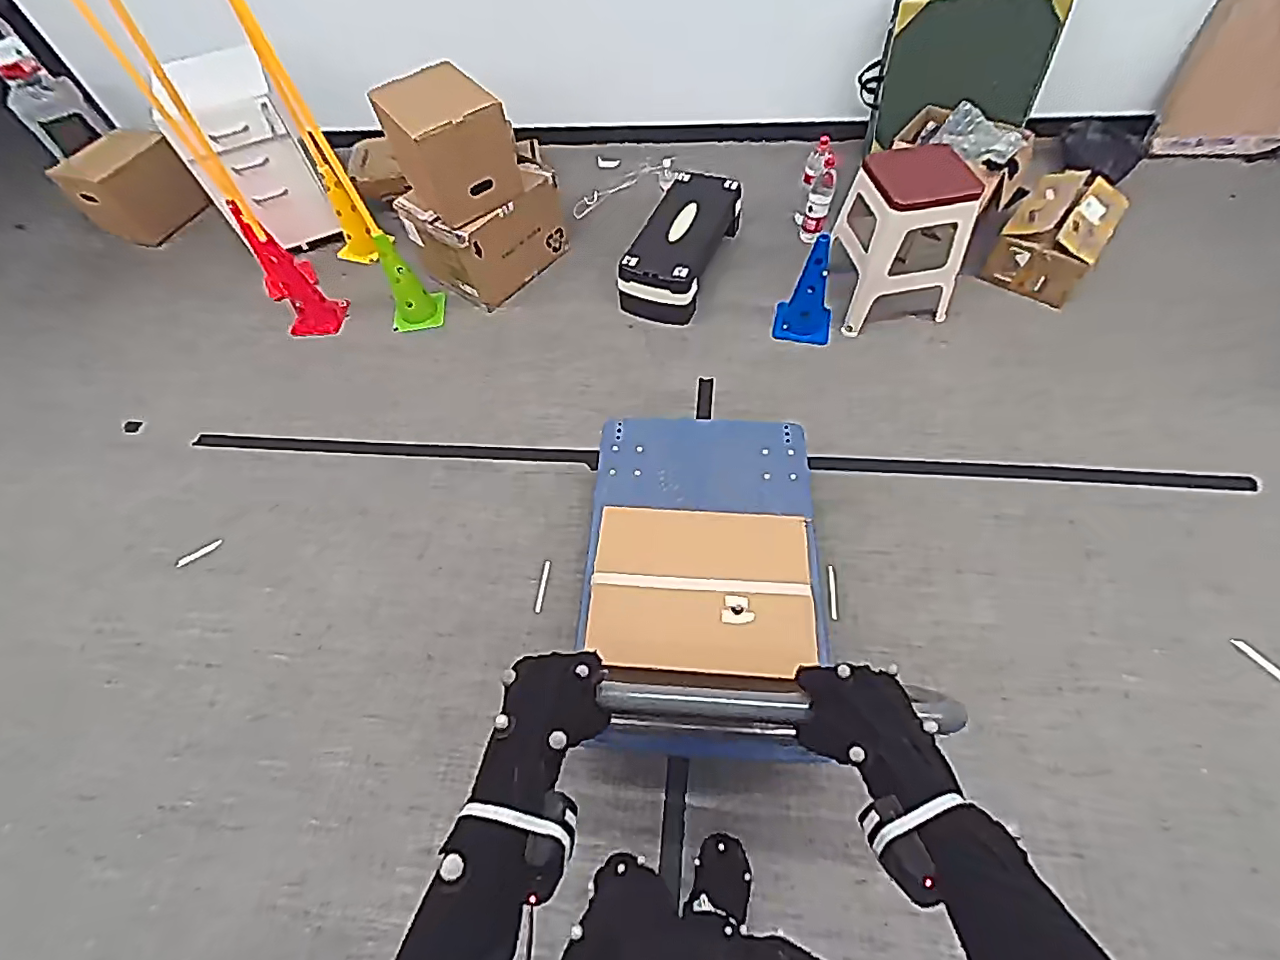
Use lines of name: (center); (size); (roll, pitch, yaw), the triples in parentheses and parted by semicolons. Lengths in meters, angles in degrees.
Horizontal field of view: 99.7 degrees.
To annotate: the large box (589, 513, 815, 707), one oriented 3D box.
large box: (0.117, 0.283, 1.147); (0.408, 0.320, 0.320); (3, 59, 4)
